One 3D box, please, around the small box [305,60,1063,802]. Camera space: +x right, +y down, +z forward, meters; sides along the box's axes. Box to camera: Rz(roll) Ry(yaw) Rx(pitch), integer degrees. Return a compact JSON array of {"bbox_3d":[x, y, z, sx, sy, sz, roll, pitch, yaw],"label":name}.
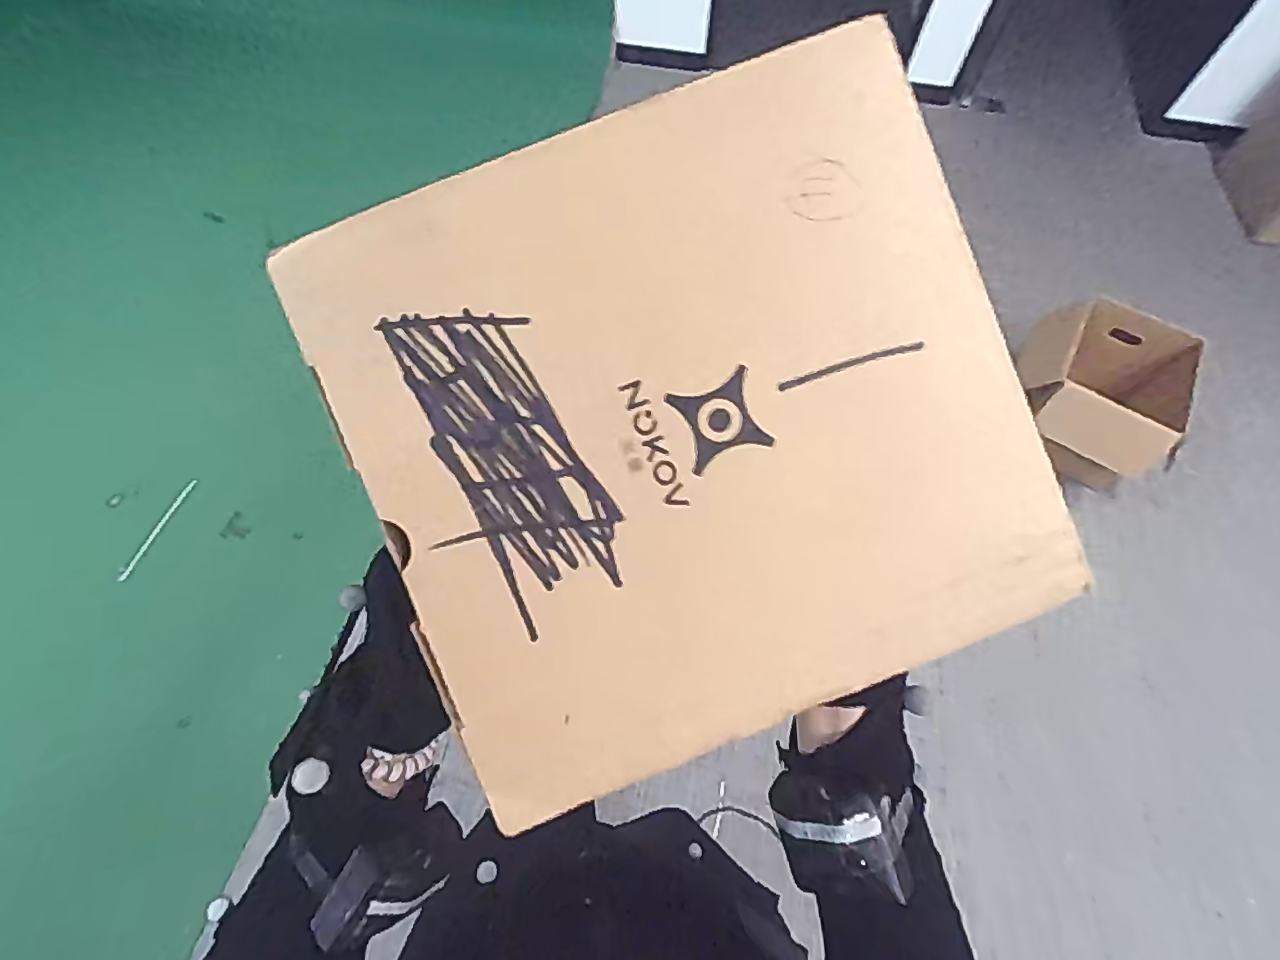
[{"bbox_3d":[0.013,-0.014,0.233,0.179,0.176,0.168,-21,92,0],"label":"small box"}]
